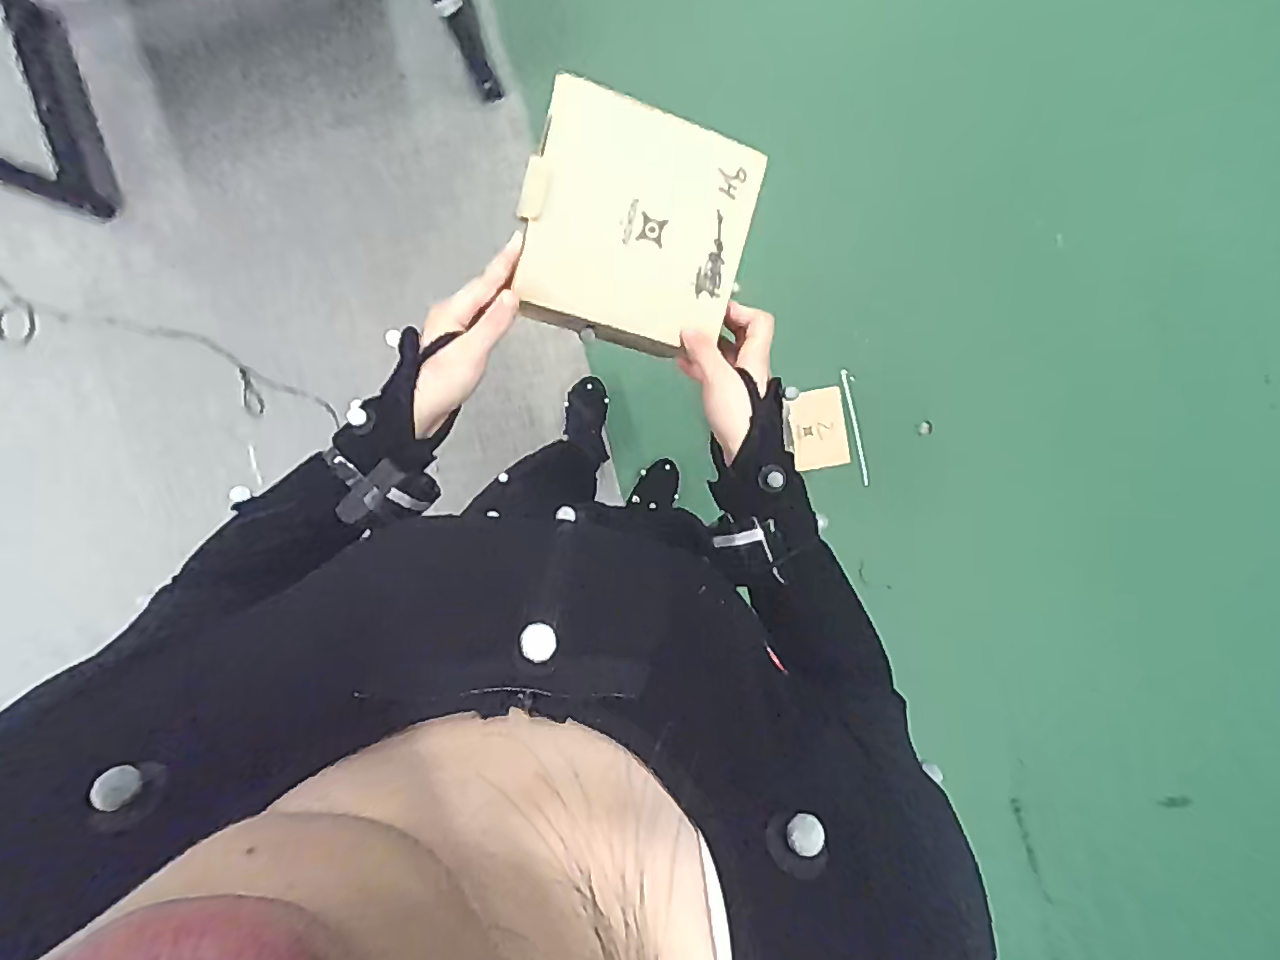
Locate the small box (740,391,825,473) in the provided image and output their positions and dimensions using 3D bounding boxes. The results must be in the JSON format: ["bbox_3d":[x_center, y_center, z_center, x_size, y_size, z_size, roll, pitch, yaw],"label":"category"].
[{"bbox_3d":[0.355,-0.123,1.369,0.168,0.176,0.179,-10,95,4],"label":"small box"}]
